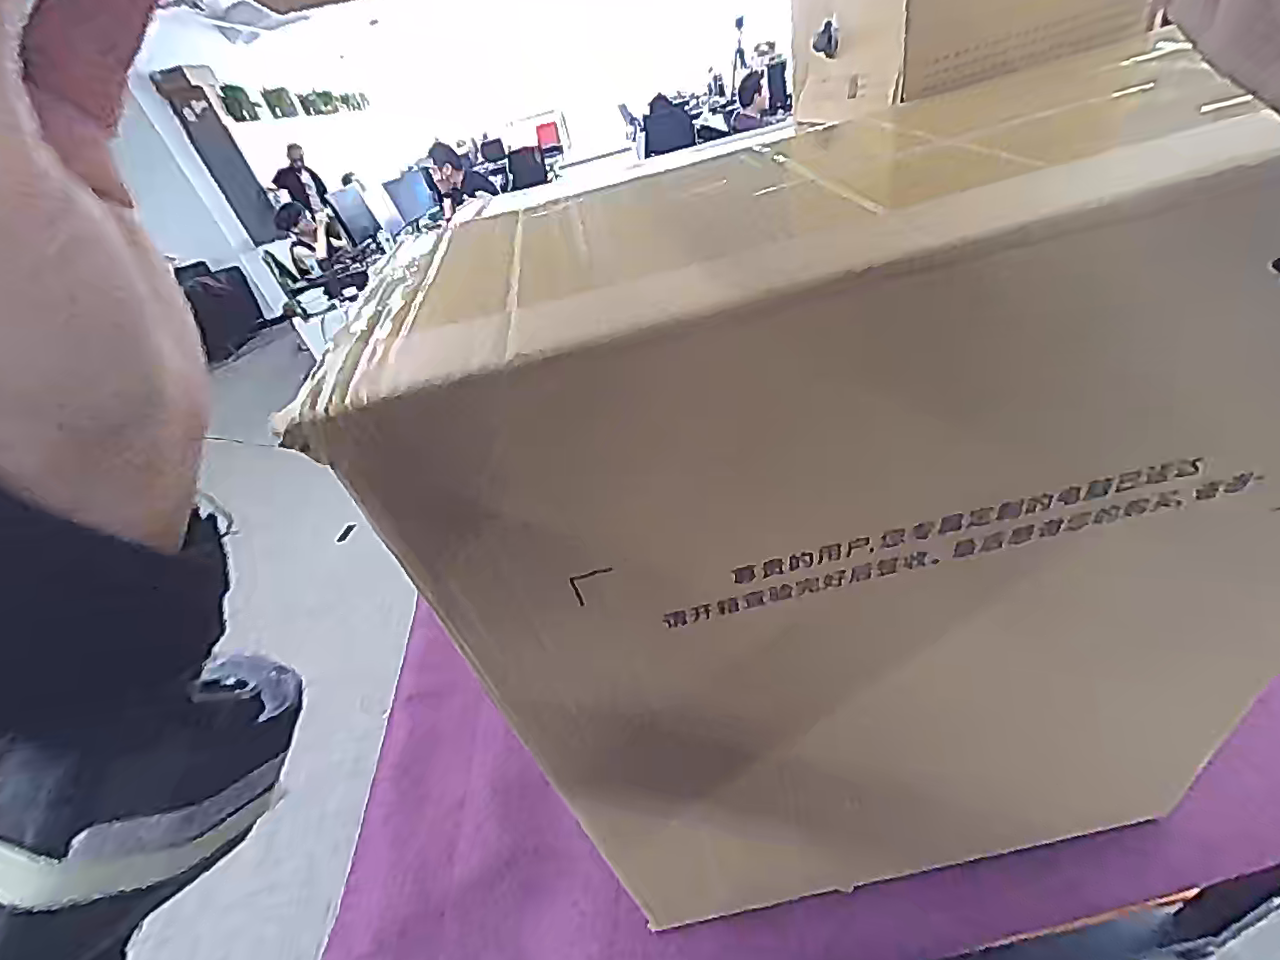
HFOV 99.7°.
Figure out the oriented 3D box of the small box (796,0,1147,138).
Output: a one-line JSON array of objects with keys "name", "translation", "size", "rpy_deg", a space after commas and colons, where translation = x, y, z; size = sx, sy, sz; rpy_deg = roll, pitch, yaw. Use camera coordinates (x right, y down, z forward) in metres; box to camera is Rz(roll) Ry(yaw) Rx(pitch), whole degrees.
[{"name": "small box", "translation": [0.214, -0.355, 0.365], "size": [0.179, 0.176, 0.168], "rpy_deg": [-18, 36, -1]}]
